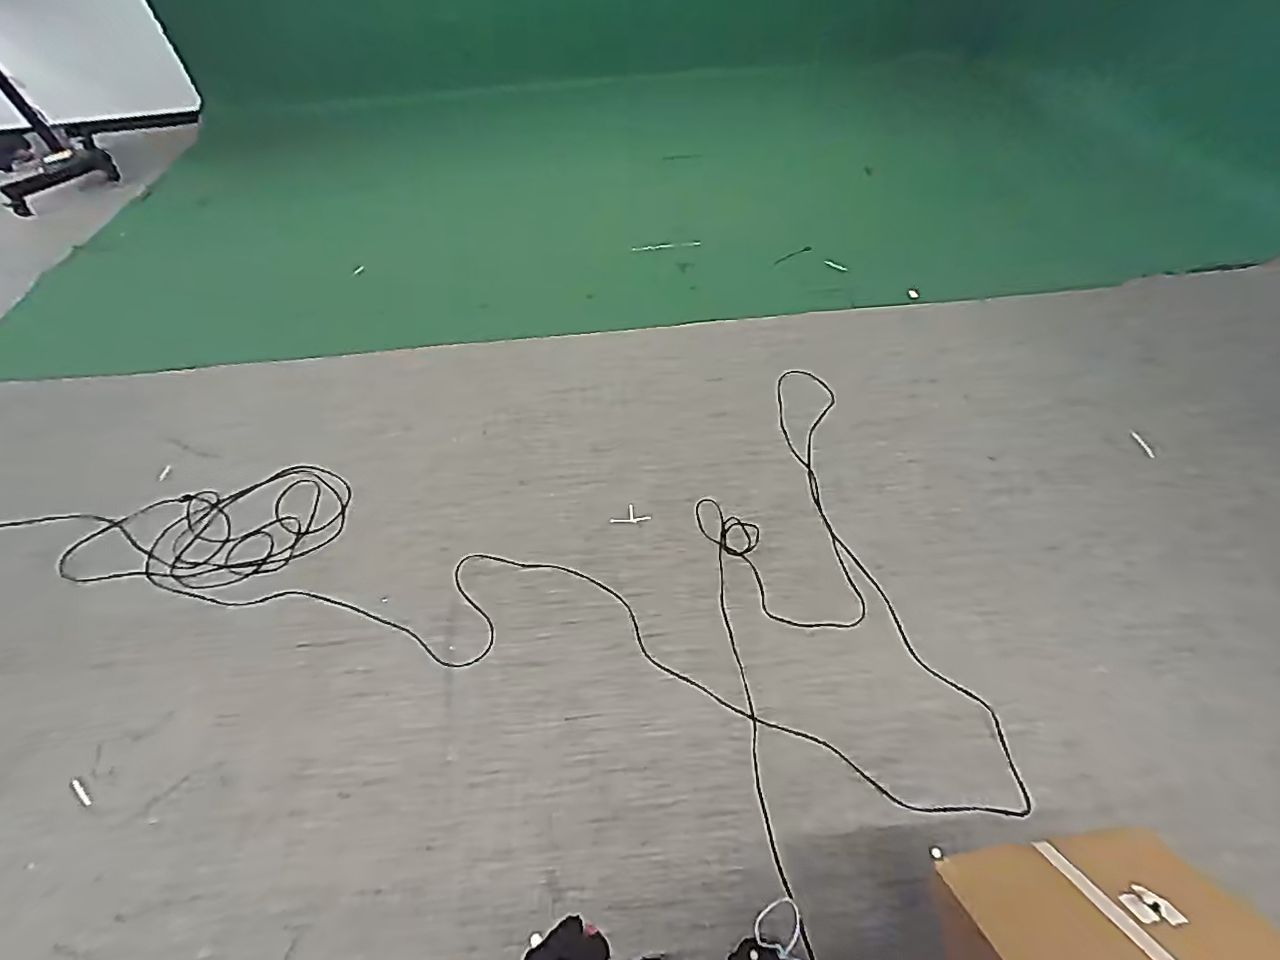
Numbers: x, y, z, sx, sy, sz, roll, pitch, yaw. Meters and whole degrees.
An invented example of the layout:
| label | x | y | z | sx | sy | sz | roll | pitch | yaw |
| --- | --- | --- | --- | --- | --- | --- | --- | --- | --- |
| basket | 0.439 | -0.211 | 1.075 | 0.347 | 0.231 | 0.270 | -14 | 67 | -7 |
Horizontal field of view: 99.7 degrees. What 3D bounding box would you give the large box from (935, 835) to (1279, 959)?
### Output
| label | x | y | z | sx | sy | sz | roll | pitch | yaw |
| --- | --- | --- | --- | --- | --- | --- | --- | --- | --- |
| large box | 0.612 | 0.695 | 0.600 | 0.320 | 0.408 | 0.320 | -10 | 88 | 2 |
